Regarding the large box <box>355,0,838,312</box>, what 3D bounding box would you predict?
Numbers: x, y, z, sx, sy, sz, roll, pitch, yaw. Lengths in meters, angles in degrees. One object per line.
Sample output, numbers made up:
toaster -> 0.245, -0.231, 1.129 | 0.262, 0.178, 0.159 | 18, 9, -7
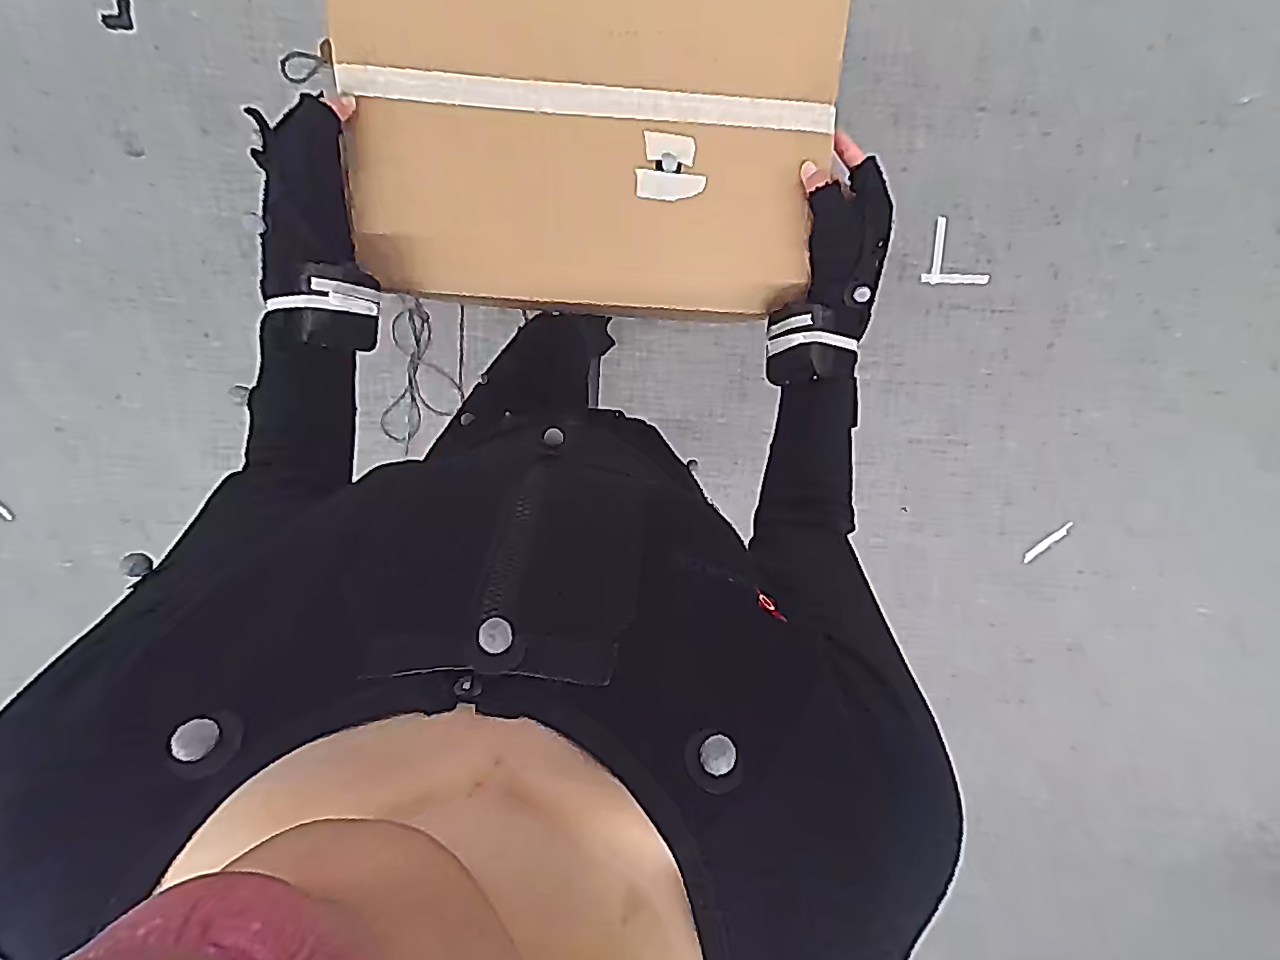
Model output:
large box -> -0.045, -0.362, 0.605 | 0.408, 0.320, 0.320 | 2, 106, -4
